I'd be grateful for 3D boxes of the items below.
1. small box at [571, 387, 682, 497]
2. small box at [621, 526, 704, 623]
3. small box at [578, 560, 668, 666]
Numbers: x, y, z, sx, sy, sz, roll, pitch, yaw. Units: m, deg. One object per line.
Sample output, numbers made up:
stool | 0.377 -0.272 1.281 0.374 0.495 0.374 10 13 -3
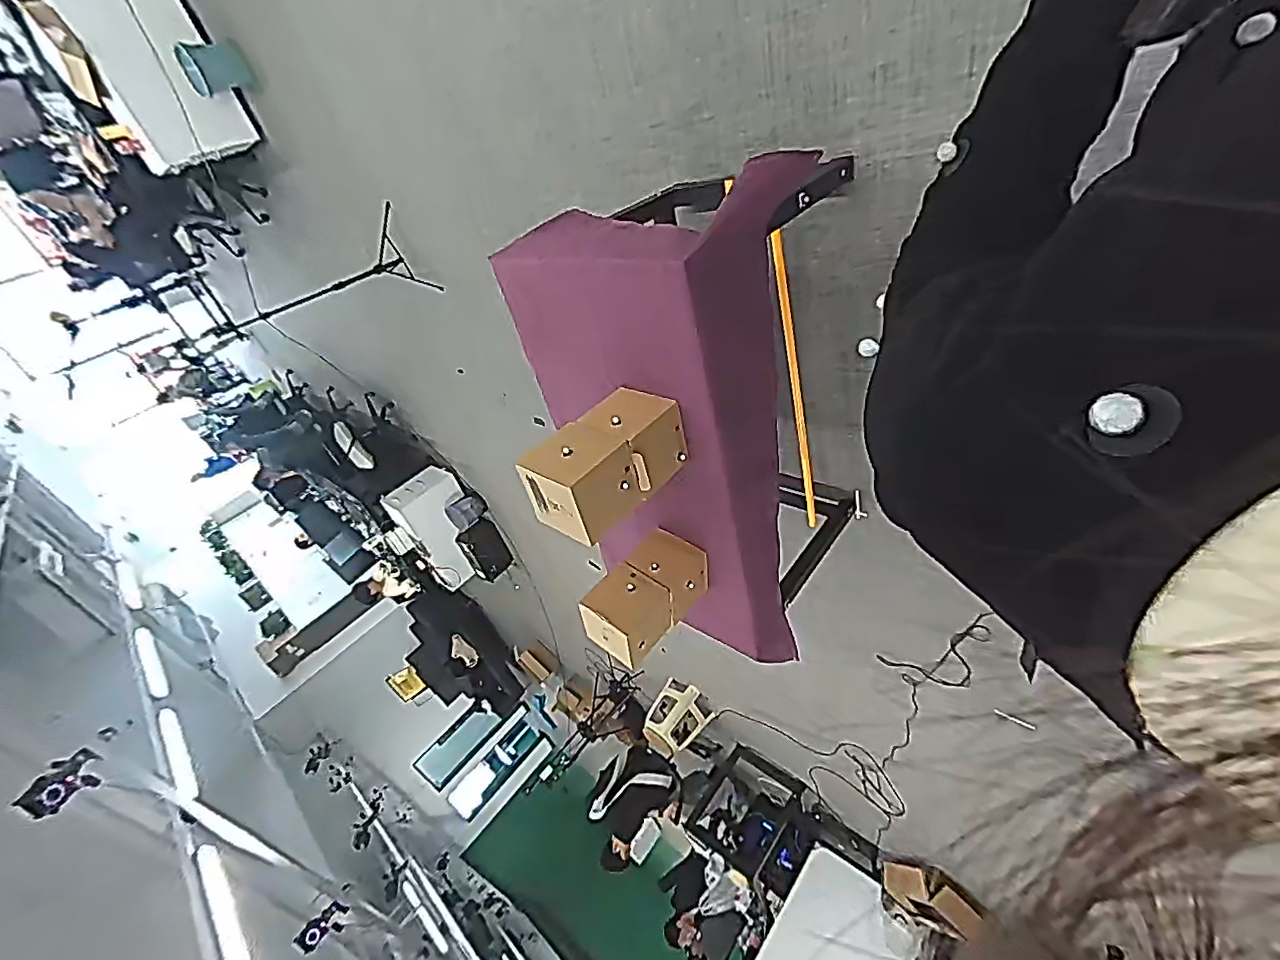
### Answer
small box | -0.021 -0.093 1.227 0.179 0.176 0.168 22 141 38
small box | 0.068 0.258 1.518 0.179 0.176 0.168 27 143 31
small box | -0.038 0.348 1.432 0.168 0.176 0.179 27 142 30
